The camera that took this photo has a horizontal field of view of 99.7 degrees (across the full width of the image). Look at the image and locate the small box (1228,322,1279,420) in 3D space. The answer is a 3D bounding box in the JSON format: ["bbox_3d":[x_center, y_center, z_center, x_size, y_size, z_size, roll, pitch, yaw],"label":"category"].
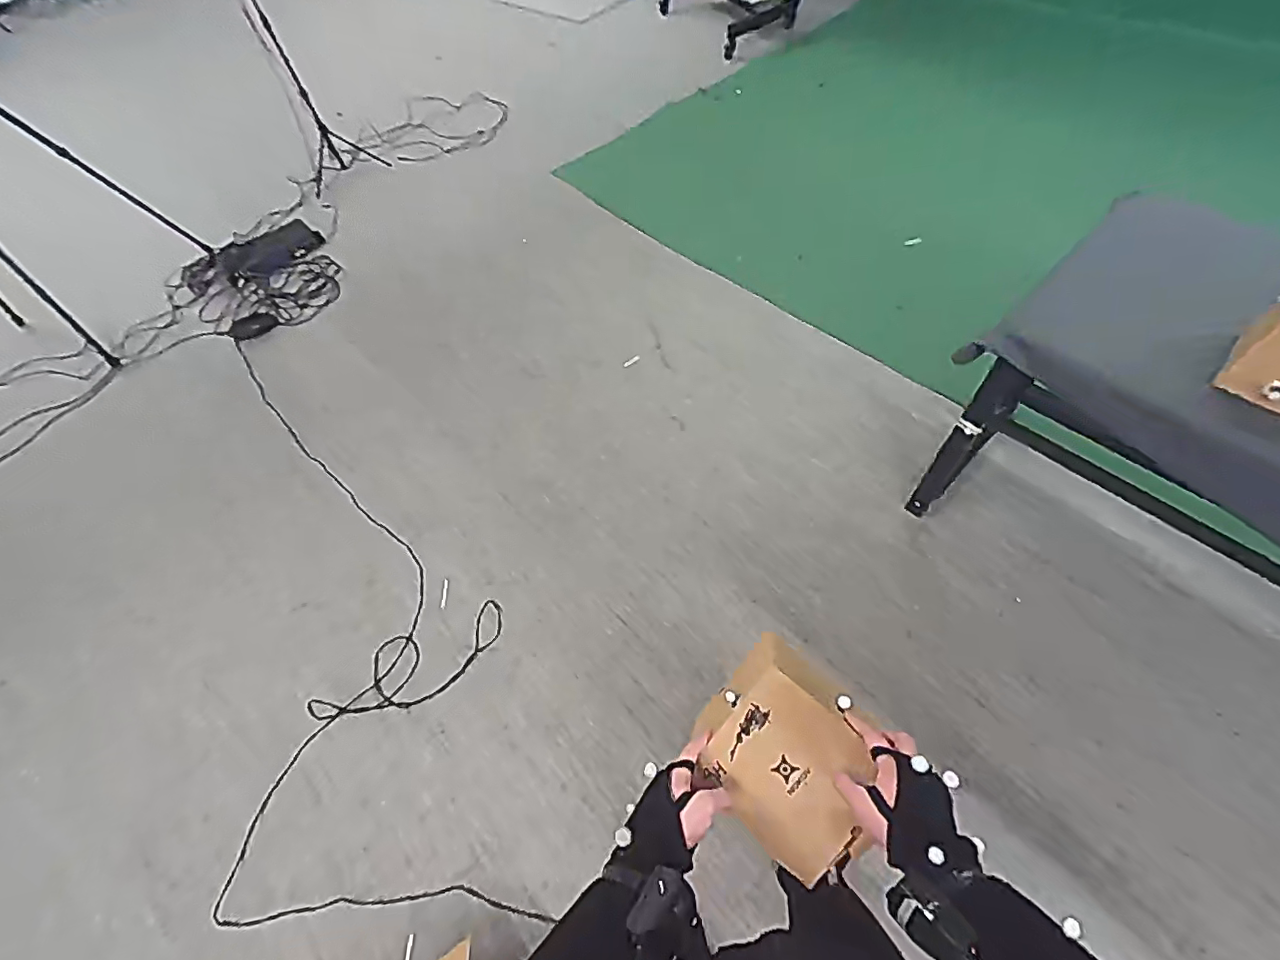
[{"bbox_3d":[1.117,-0.197,0.861,0.179,0.176,0.168,-42,61,-19],"label":"small box"}]

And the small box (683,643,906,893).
[{"bbox_3d":[0.177,0.326,0.656,0.179,0.176,0.168,39,94,11],"label":"small box"}]
